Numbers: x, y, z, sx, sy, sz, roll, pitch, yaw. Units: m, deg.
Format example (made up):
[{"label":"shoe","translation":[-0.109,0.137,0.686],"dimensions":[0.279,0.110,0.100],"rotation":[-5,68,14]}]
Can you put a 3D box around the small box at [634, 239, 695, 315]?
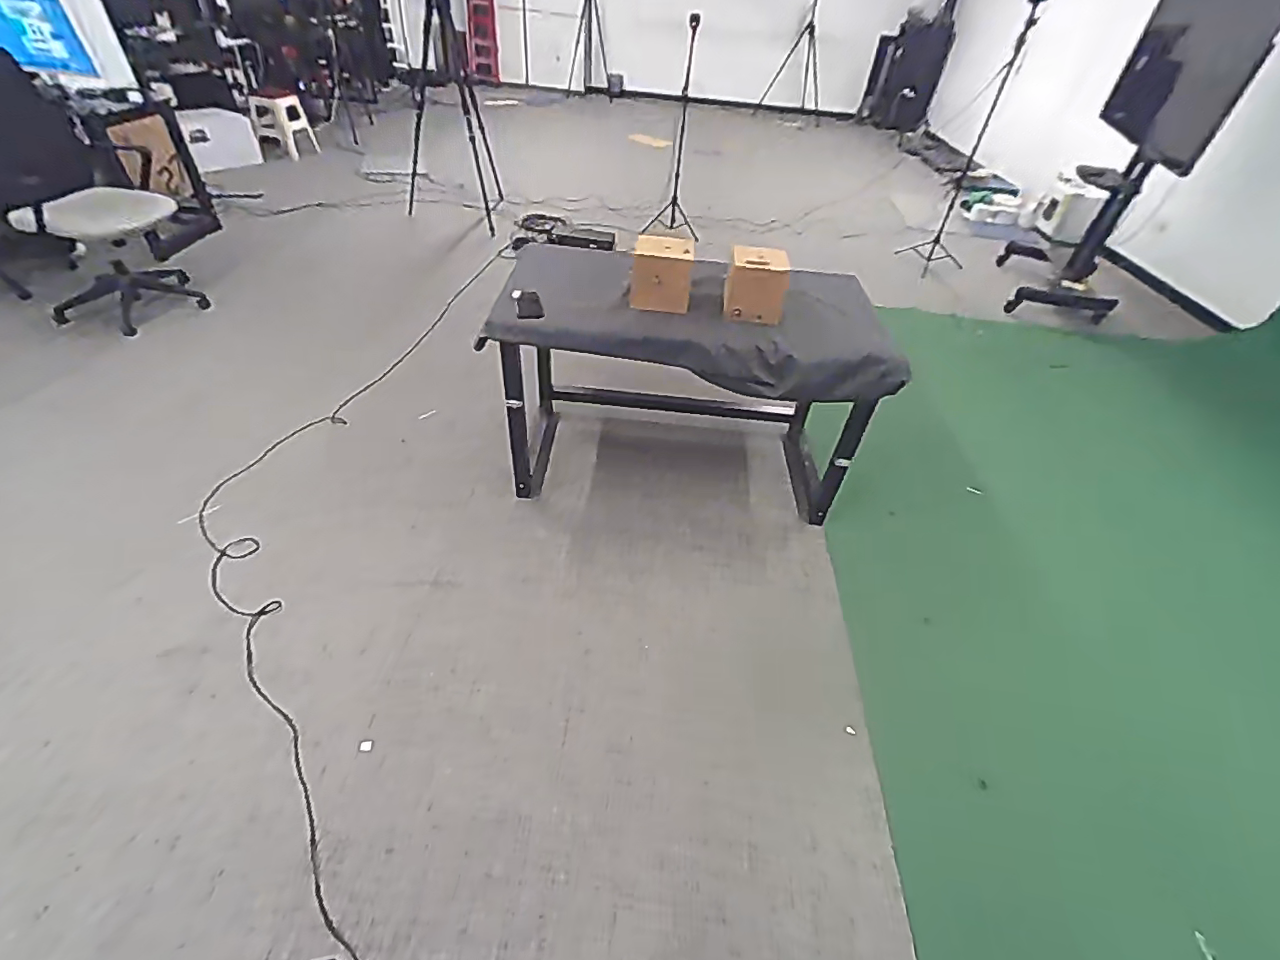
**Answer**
[{"label":"small box","translation":[0.074,-0.628,1.676],"dimensions":[0.179,0.176,0.168],"rotation":[5,43,-1]}]

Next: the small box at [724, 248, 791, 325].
[{"label":"small box","translation":[0.358,-0.596,1.675],"dimensions":[0.168,0.176,0.179],"rotation":[7,42,0]}]
